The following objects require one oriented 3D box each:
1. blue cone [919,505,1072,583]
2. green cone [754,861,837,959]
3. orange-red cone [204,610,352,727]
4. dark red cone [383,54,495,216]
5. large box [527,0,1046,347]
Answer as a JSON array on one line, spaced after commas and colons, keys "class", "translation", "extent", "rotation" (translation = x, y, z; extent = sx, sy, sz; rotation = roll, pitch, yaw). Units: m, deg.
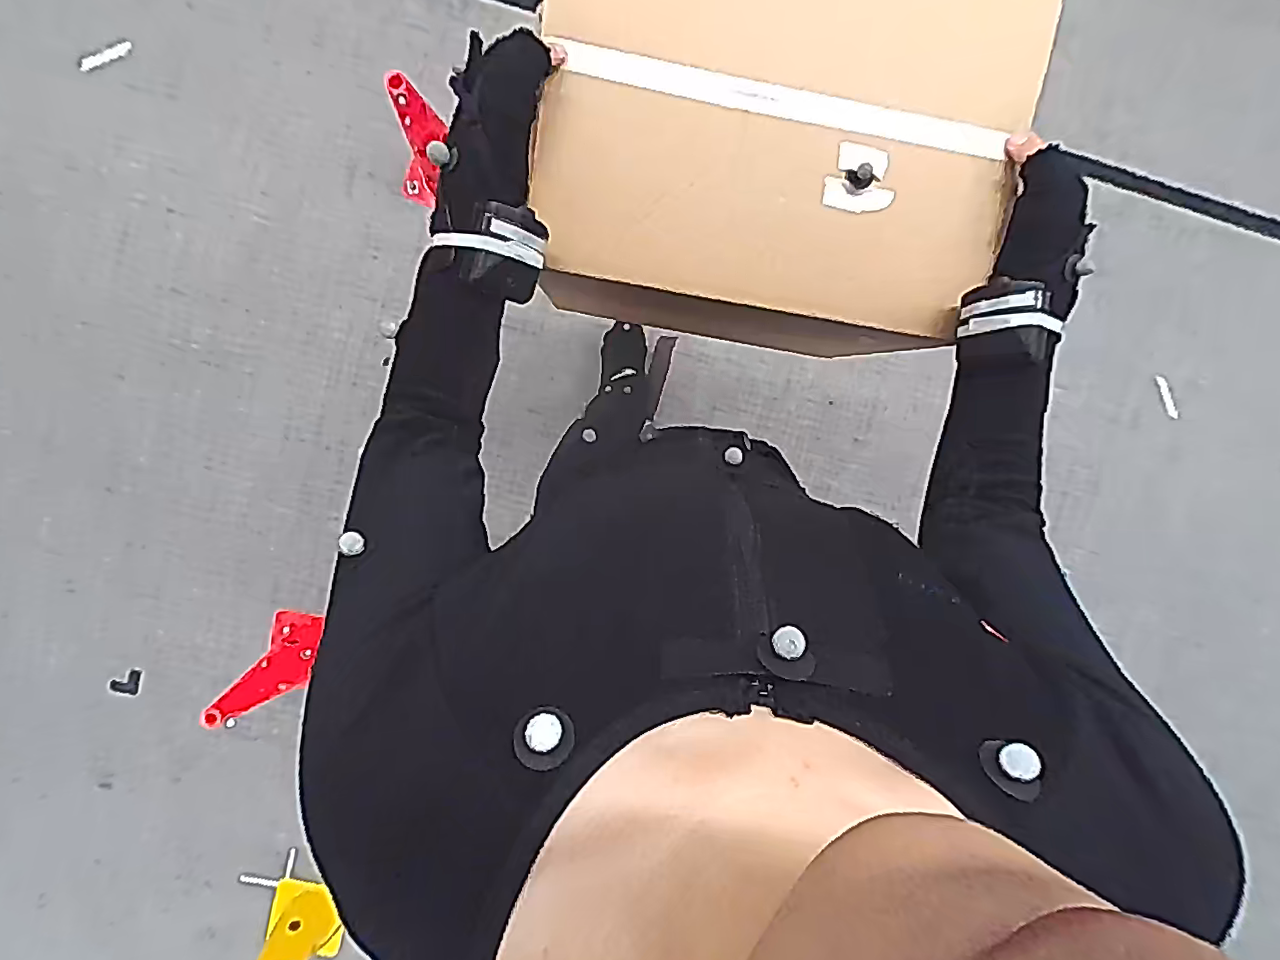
[{"class": "blue cone", "translation": [0.897, 0.189, 1.352], "extent": [0.192, 0.380, 0.193], "rotation": [18, 93, -5]}, {"class": "green cone", "translation": [0.461, 1.232, 1.391], "extent": [0.202, 0.368, 0.200], "rotation": [-23, 96, -3]}, {"class": "orange-red cone", "translation": [-0.868, 0.469, 1.266], "extent": [0.198, 0.360, 0.199], "rotation": [12, 95, -3]}, {"class": "dark red cone", "translation": [-0.463, -0.763, 1.170], "extent": [0.201, 0.394, 0.202], "rotation": [20, 93, -5]}, {"class": "large box", "translation": [0.109, -0.338, 0.589], "extent": [0.408, 0.320, 0.320], "rotation": [8, 100, -6]}]
